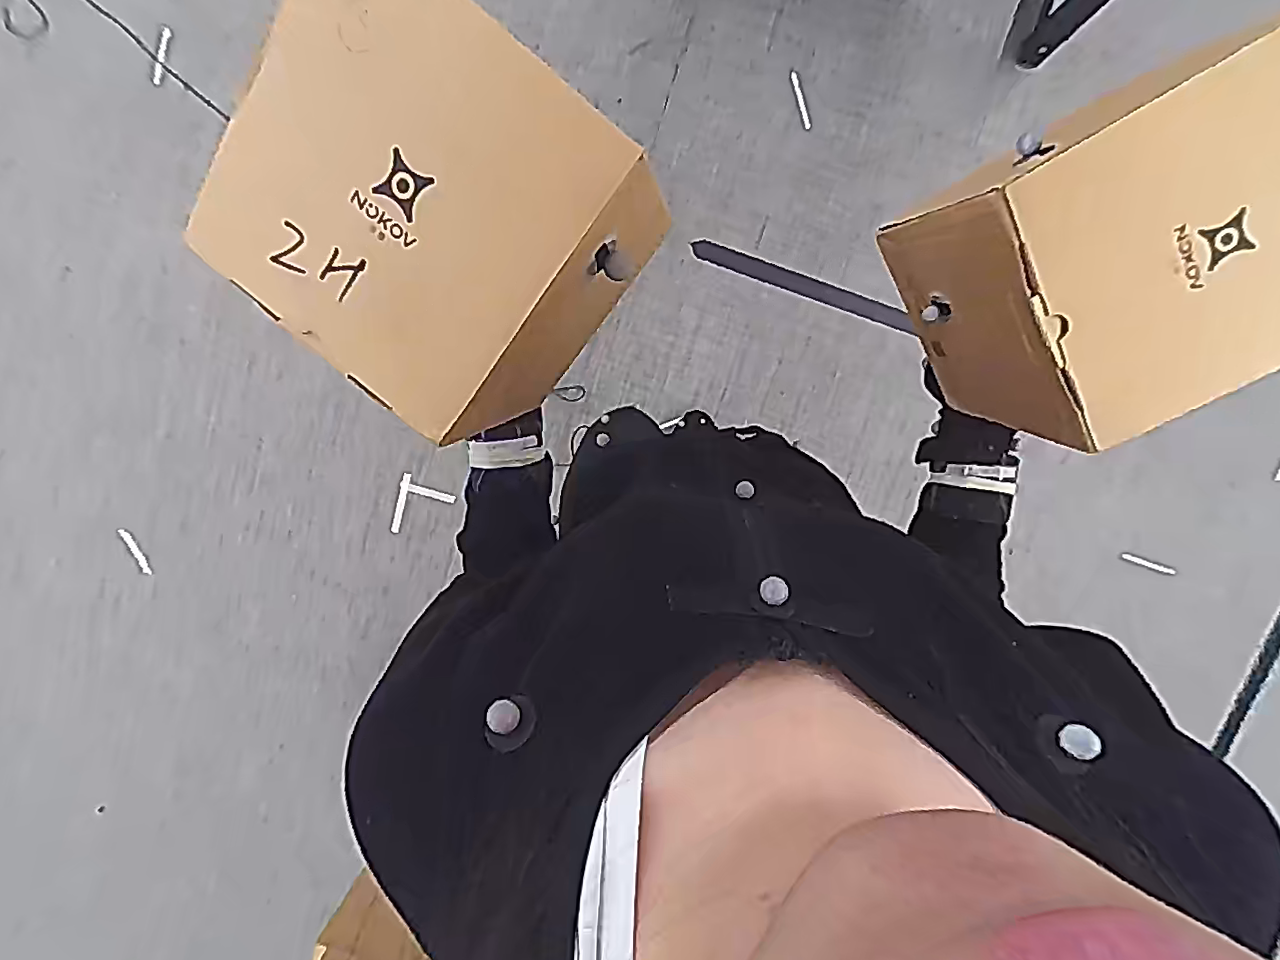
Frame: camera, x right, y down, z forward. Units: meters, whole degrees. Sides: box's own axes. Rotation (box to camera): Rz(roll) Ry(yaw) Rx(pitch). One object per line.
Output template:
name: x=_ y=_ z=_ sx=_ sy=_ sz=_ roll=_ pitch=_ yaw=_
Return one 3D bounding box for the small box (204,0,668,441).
small box: x=-0.096 y=-0.154 z=0.331 sx=0.168 sy=0.176 sz=0.179 roll=40 pitch=108 yaw=-3

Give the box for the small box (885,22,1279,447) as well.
small box: x=0.303 y=-0.151 z=0.362 sx=0.179 sy=0.176 sz=0.168 roll=-29 pitch=105 yaw=11

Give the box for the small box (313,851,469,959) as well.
small box: x=-0.409 y=0.757 z=0.886 sx=0.179 sy=0.176 sz=0.168 roll=17 pitch=98 yaw=0
